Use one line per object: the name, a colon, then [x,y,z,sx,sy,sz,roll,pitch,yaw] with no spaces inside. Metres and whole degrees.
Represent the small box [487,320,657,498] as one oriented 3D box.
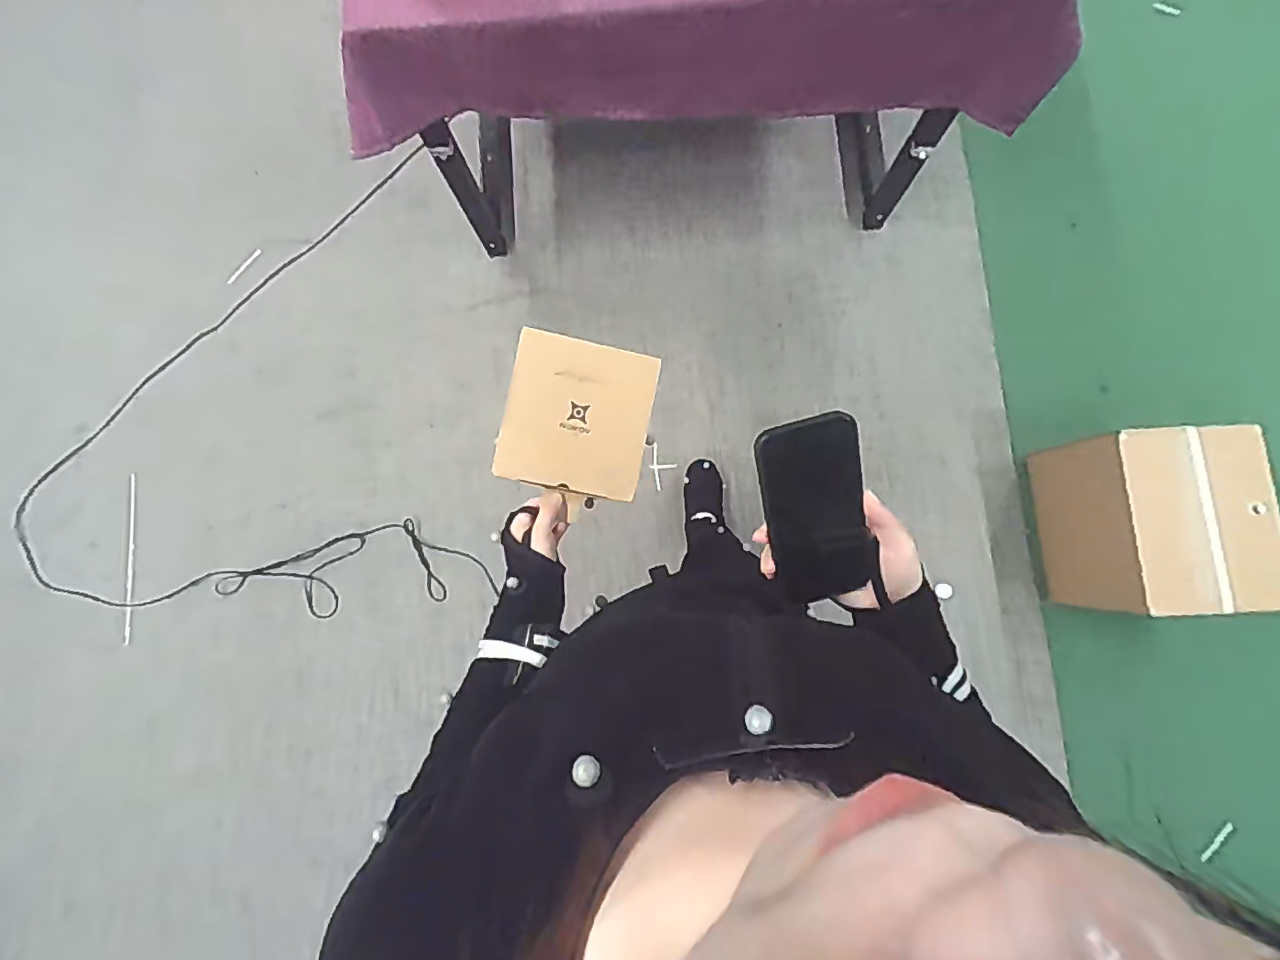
small box: [-0.085,-0.078,0.693,0.168,0.176,0.179,12,87,-8]
